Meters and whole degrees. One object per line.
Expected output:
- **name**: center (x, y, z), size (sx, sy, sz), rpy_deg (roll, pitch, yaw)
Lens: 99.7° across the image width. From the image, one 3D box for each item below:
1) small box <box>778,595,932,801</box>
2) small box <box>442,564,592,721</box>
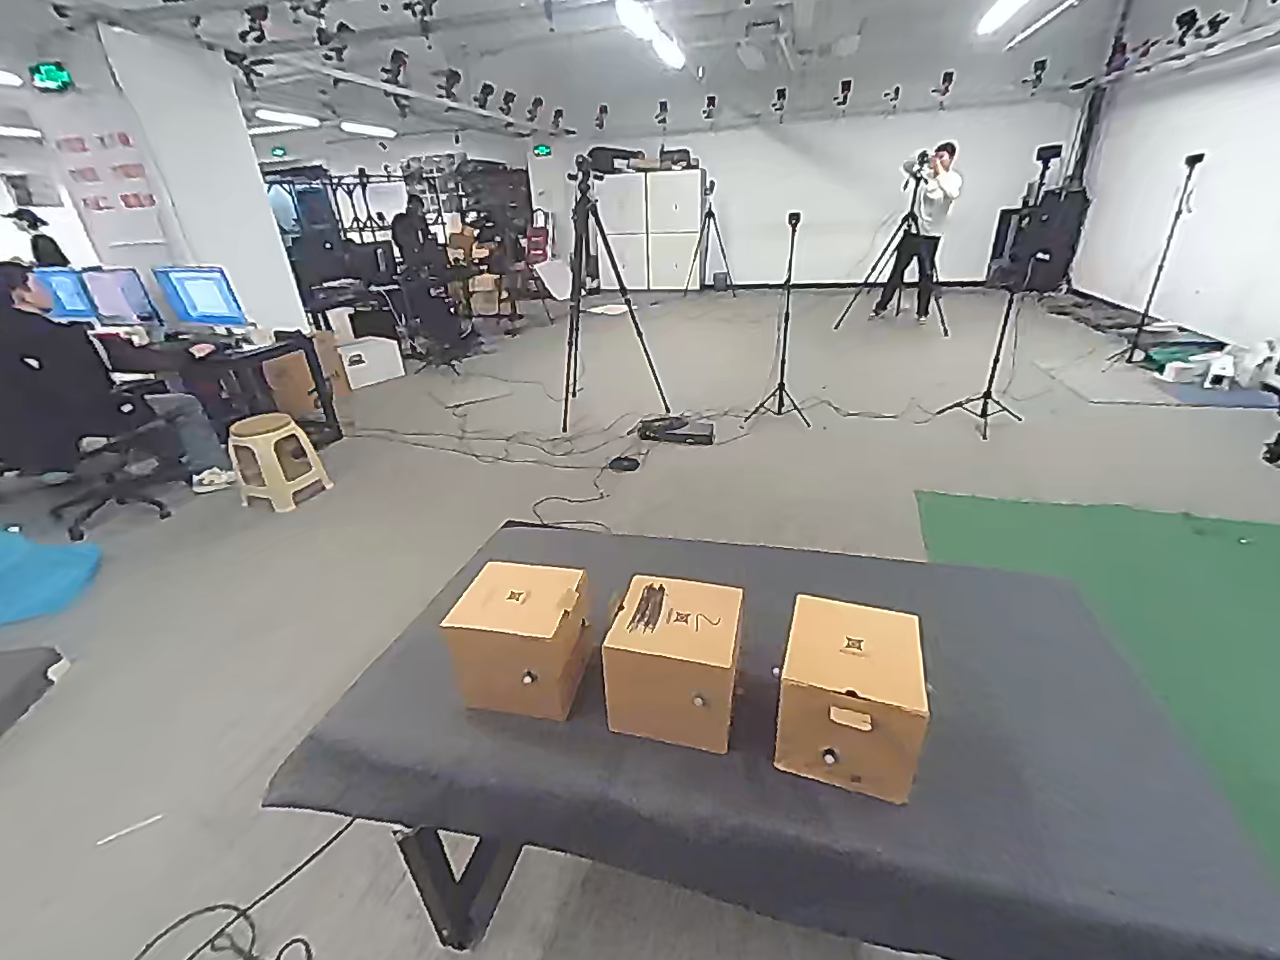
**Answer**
- **small box**: center (0.288, 0.292, 0.744), size (0.168, 0.176, 0.179), rpy_deg (8, 29, 19)
- **small box**: center (-0.181, 0.256, 0.864), size (0.179, 0.176, 0.168), rpy_deg (2, 26, 11)
